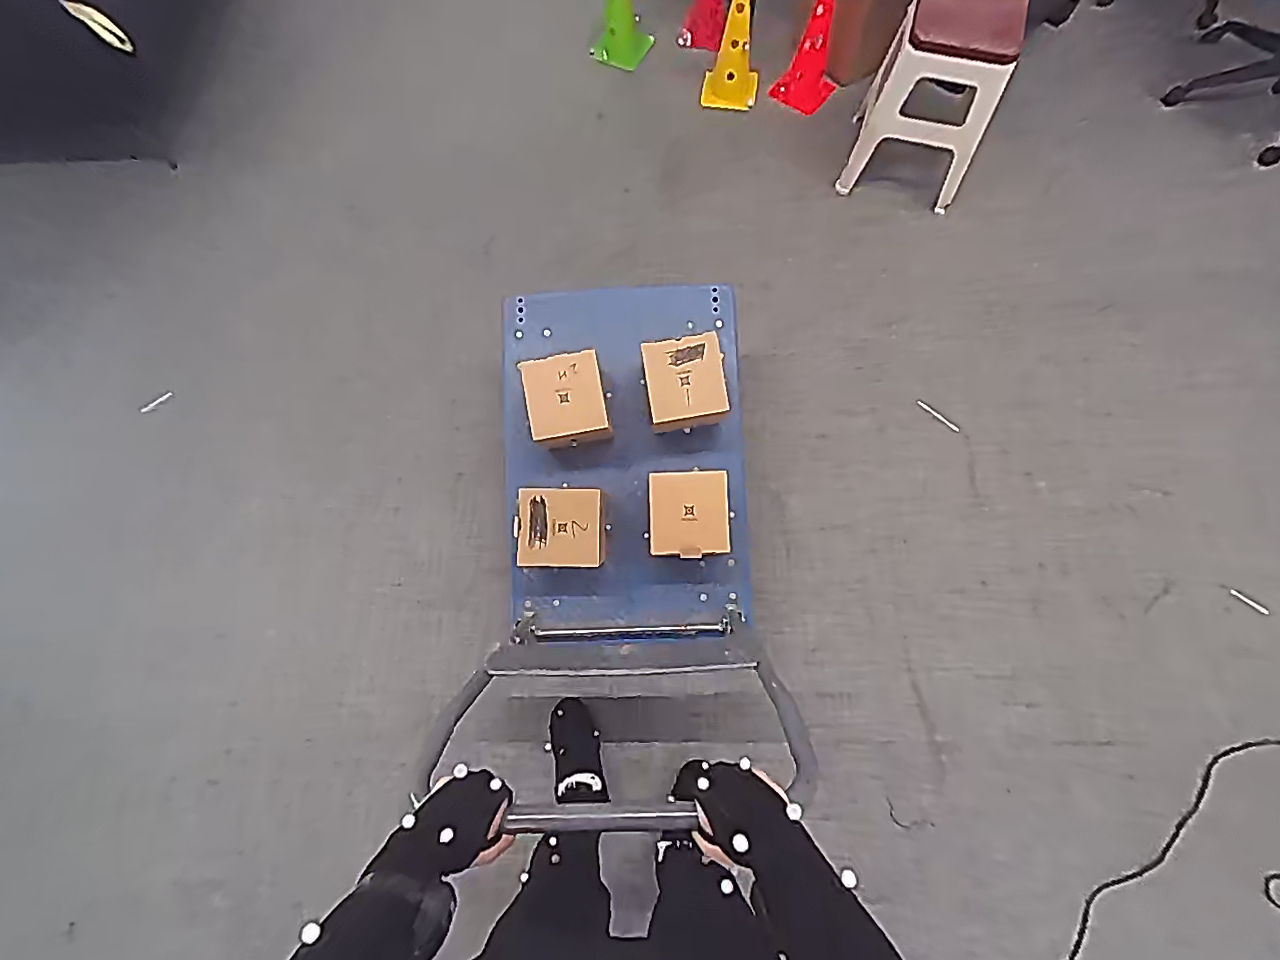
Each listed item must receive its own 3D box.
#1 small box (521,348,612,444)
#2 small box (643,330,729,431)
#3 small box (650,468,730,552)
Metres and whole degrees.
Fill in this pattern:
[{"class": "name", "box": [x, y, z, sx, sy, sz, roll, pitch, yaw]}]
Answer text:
[{"class": "small box", "box": [-0.159, -0.182, 1.229, 0.168, 0.176, 0.179, -10, 87, 0]}, {"class": "small box", "box": [0.098, -0.218, 1.224, 0.168, 0.176, 0.179, -9, 88, 2]}, {"class": "small box", "box": [0.106, 0.067, 1.213, 0.168, 0.176, 0.179, -2, 88, 1]}]
